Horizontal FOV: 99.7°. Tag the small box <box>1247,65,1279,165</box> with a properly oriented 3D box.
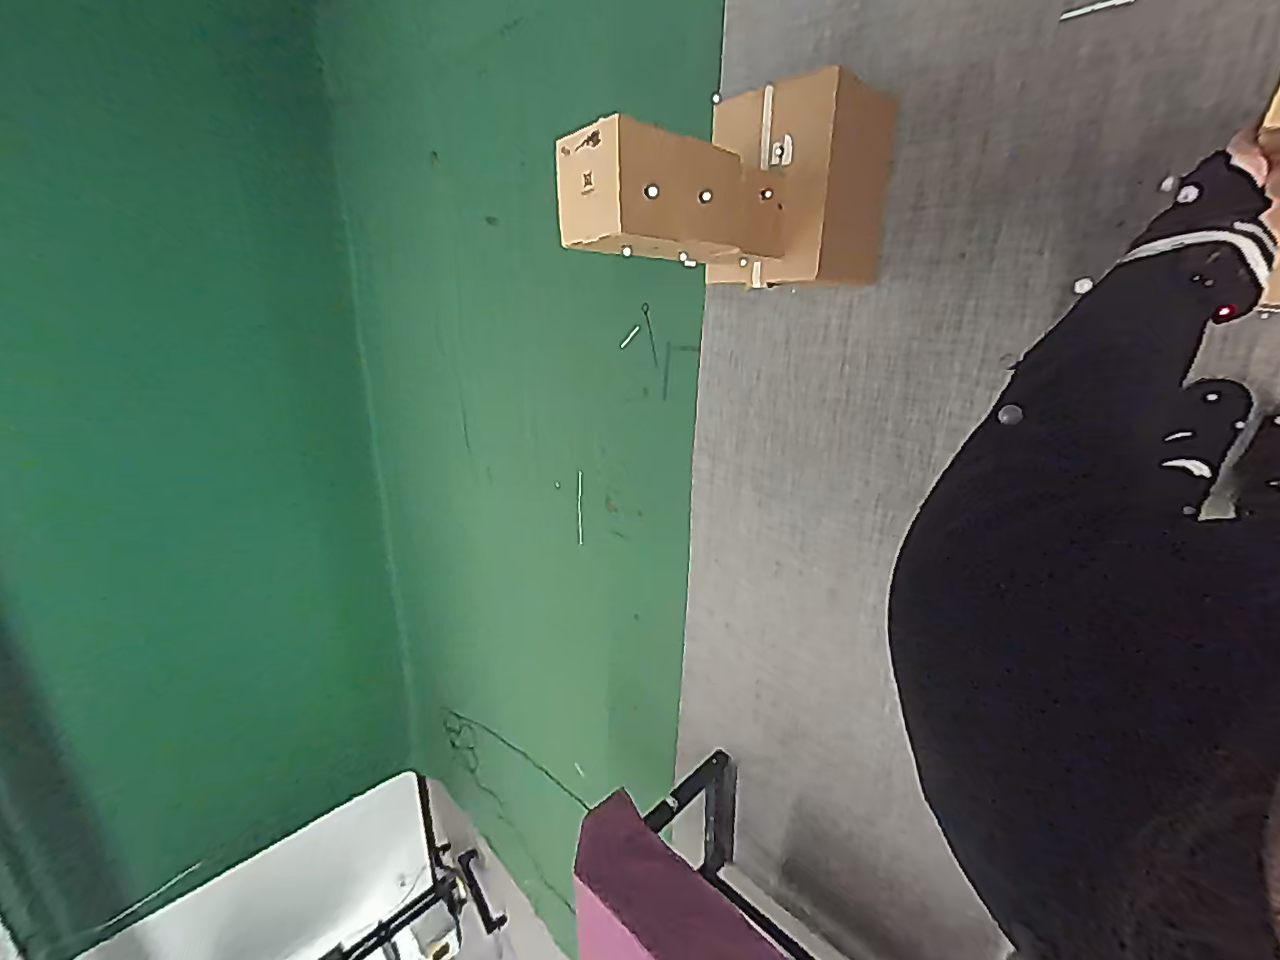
[{"bbox_3d":[0.579,-0.322,0.370,0.179,0.176,0.168,26,122,40],"label":"small box"}]

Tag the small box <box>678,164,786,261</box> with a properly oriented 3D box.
[{"bbox_3d":[0.203,-0.580,1.194,0.179,0.176,0.168,17,113,43],"label":"small box"}]

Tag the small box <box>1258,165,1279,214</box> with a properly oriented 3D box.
[{"bbox_3d":[0.837,-0.393,0.594,0.168,0.176,0.179,25,117,39],"label":"small box"}]

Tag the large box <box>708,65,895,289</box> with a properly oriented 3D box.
[{"bbox_3d":[0.388,-0.693,1.326,0.320,0.320,0.408,17,113,42],"label":"large box"}]

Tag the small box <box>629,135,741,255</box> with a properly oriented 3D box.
[{"bbox_3d":[0.088,-0.553,1.080,0.168,0.176,0.179,11,108,43],"label":"small box"}]

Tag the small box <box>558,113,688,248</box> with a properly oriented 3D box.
[{"bbox_3d":[-0.027,-0.519,0.967,0.168,0.176,0.179,14,112,43],"label":"small box"}]
